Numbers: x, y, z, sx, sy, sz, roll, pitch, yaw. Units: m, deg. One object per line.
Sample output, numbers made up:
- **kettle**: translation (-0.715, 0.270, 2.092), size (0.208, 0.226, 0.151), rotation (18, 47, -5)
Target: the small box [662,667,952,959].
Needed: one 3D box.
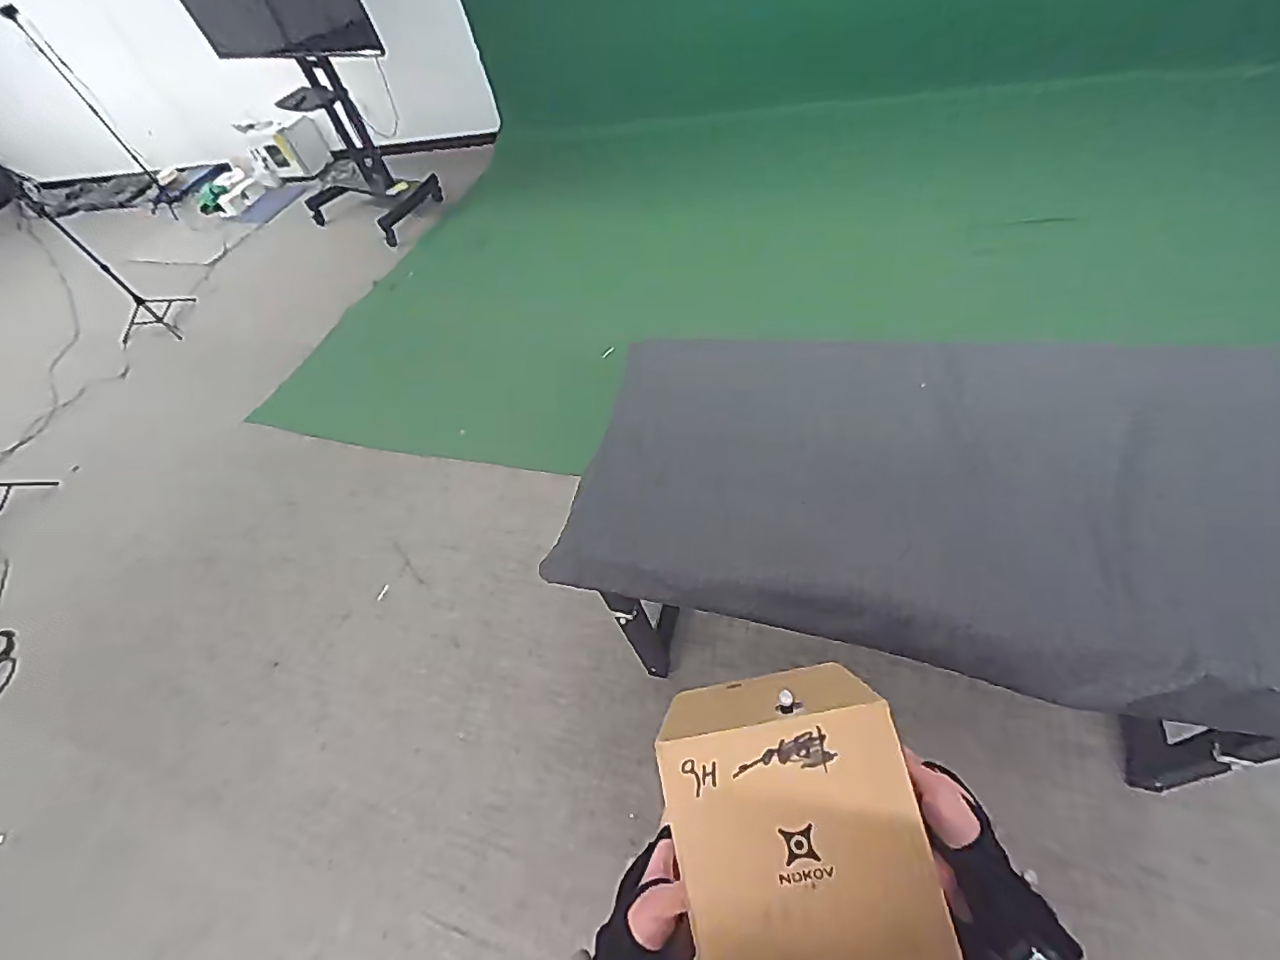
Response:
- **small box**: translation (0.122, 0.272, 0.449), size (0.168, 0.176, 0.179), rotation (-13, 79, 5)
